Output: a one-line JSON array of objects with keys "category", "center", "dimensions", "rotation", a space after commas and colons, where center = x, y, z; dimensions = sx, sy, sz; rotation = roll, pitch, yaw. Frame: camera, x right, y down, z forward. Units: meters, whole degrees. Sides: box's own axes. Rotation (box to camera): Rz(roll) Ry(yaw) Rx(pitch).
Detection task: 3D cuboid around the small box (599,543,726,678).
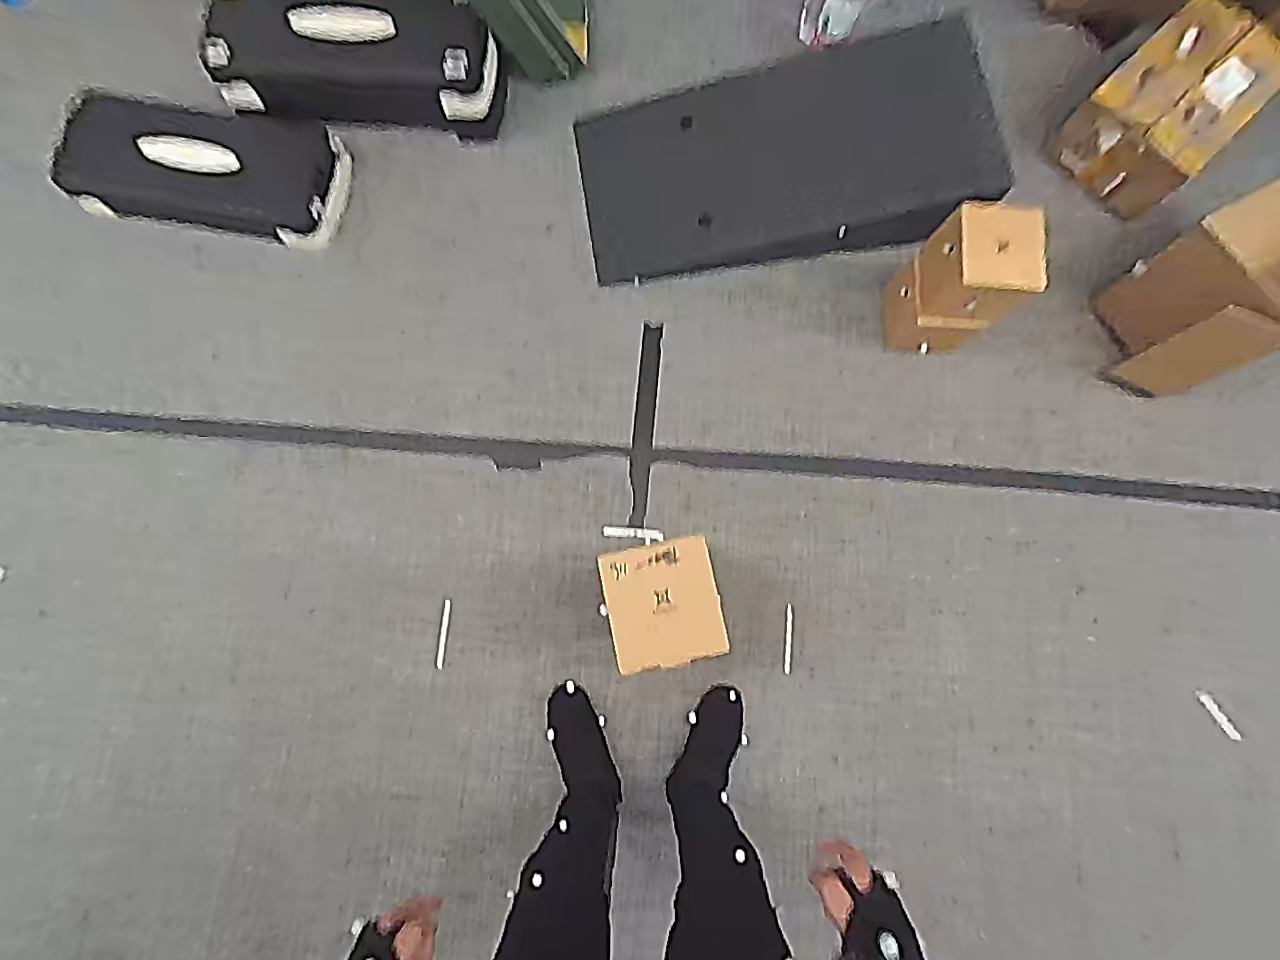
[{"category": "small box", "center": [0.031, 0.203, 0.879], "dimensions": [0.168, 0.176, 0.179], "rotation": [-11, 81, -4]}]
